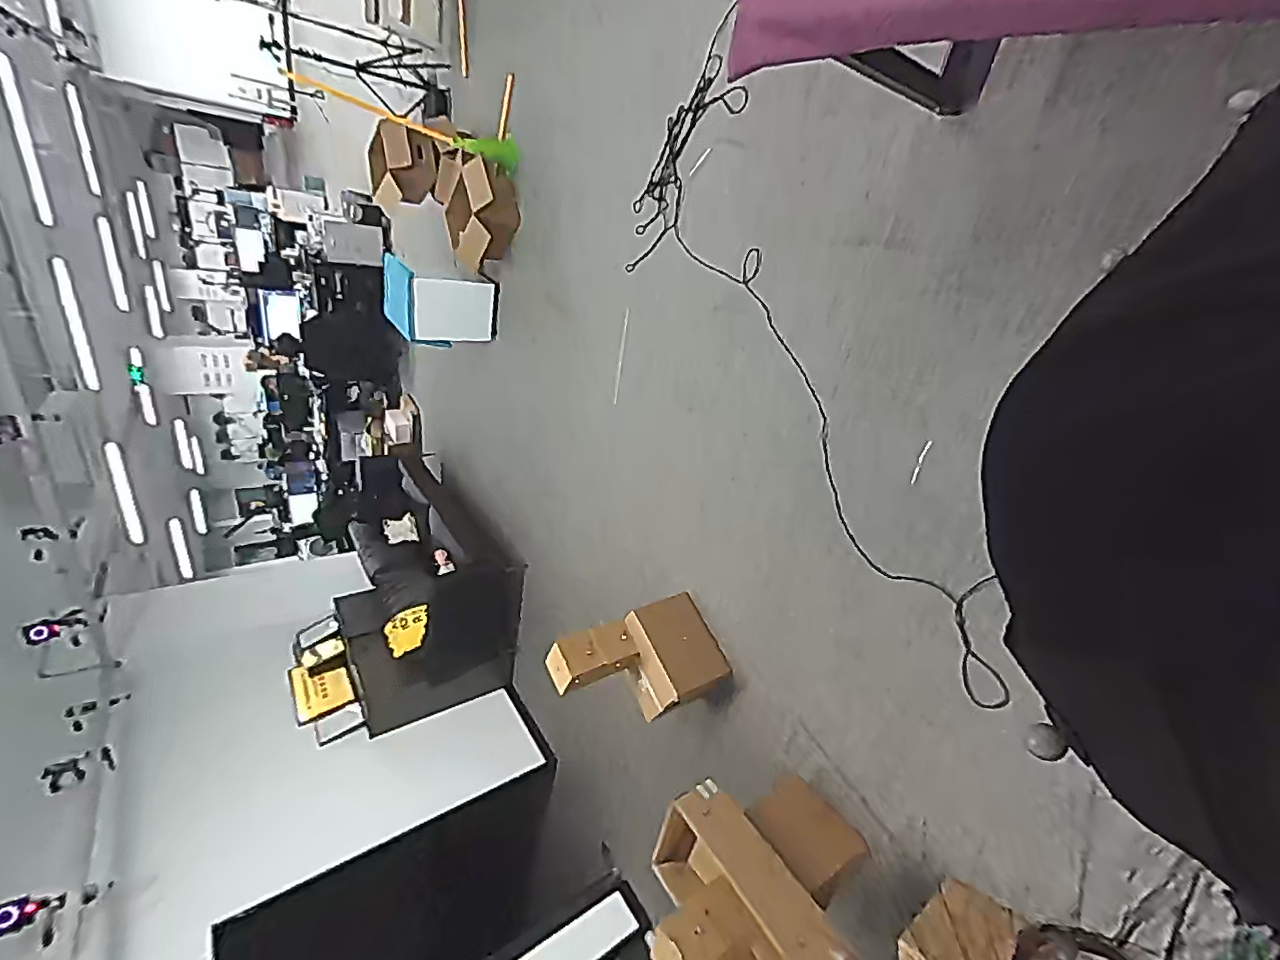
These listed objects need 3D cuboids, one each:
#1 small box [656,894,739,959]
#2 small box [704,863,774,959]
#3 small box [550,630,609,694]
[{"bbox_3d":[0.175,1.414,1.634,0.168,0.176,0.179,35,124,45],"label":"small box"},{"bbox_3d":[0.304,1.392,1.733,0.168,0.176,0.179,37,125,43],"label":"small box"},{"bbox_3d":[-0.252,0.759,2.263,0.168,0.176,0.179,55,138,31],"label":"small box"}]
